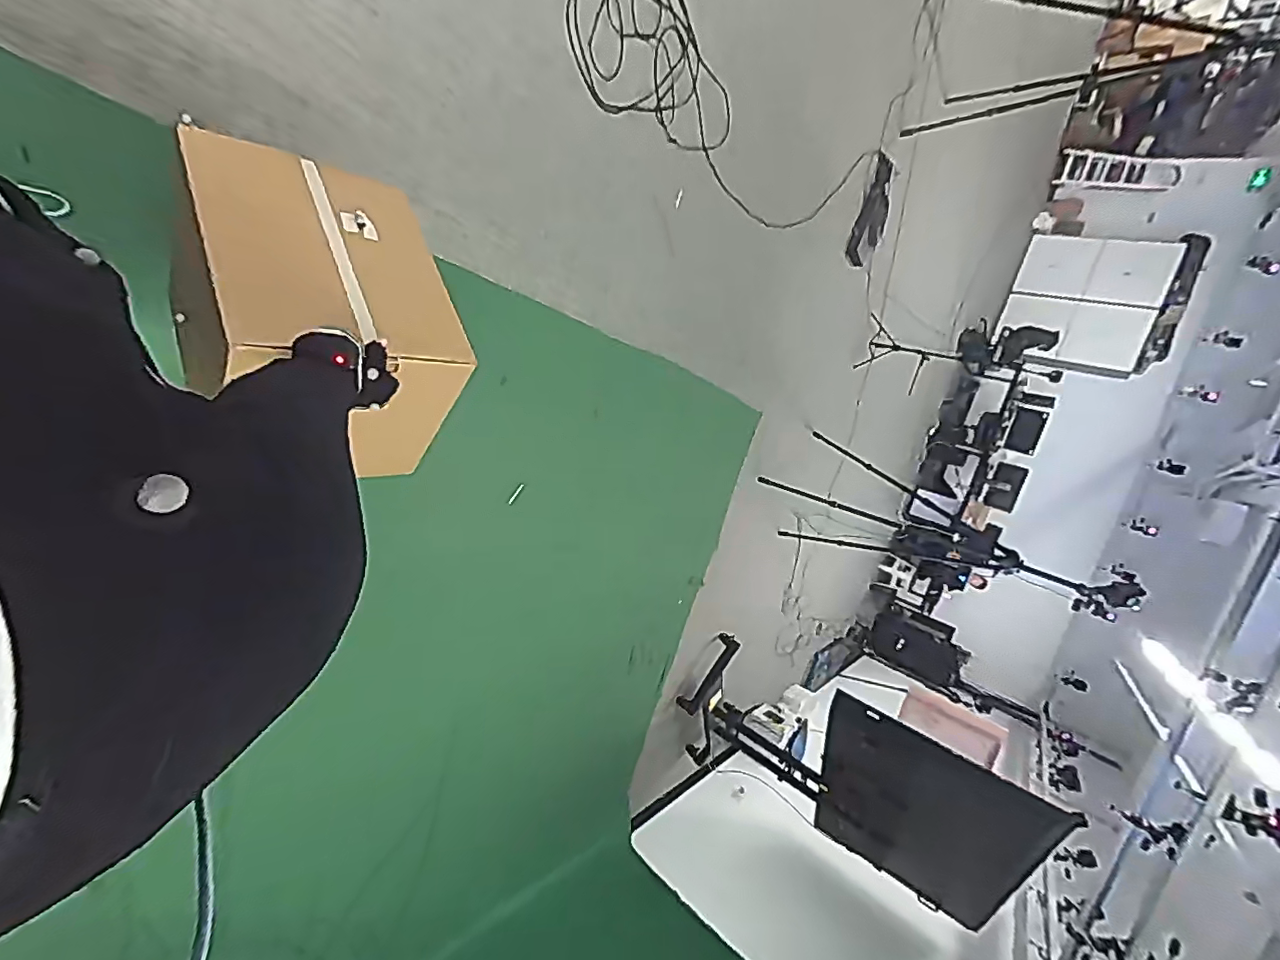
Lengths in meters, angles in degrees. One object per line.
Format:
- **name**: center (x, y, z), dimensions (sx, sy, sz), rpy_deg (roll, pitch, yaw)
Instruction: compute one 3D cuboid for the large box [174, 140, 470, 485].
- **large box**: center (-0.541, -0.248, 0.897), dimensions (0.320, 0.408, 0.320), rpy_deg (-6, 151, -46)
